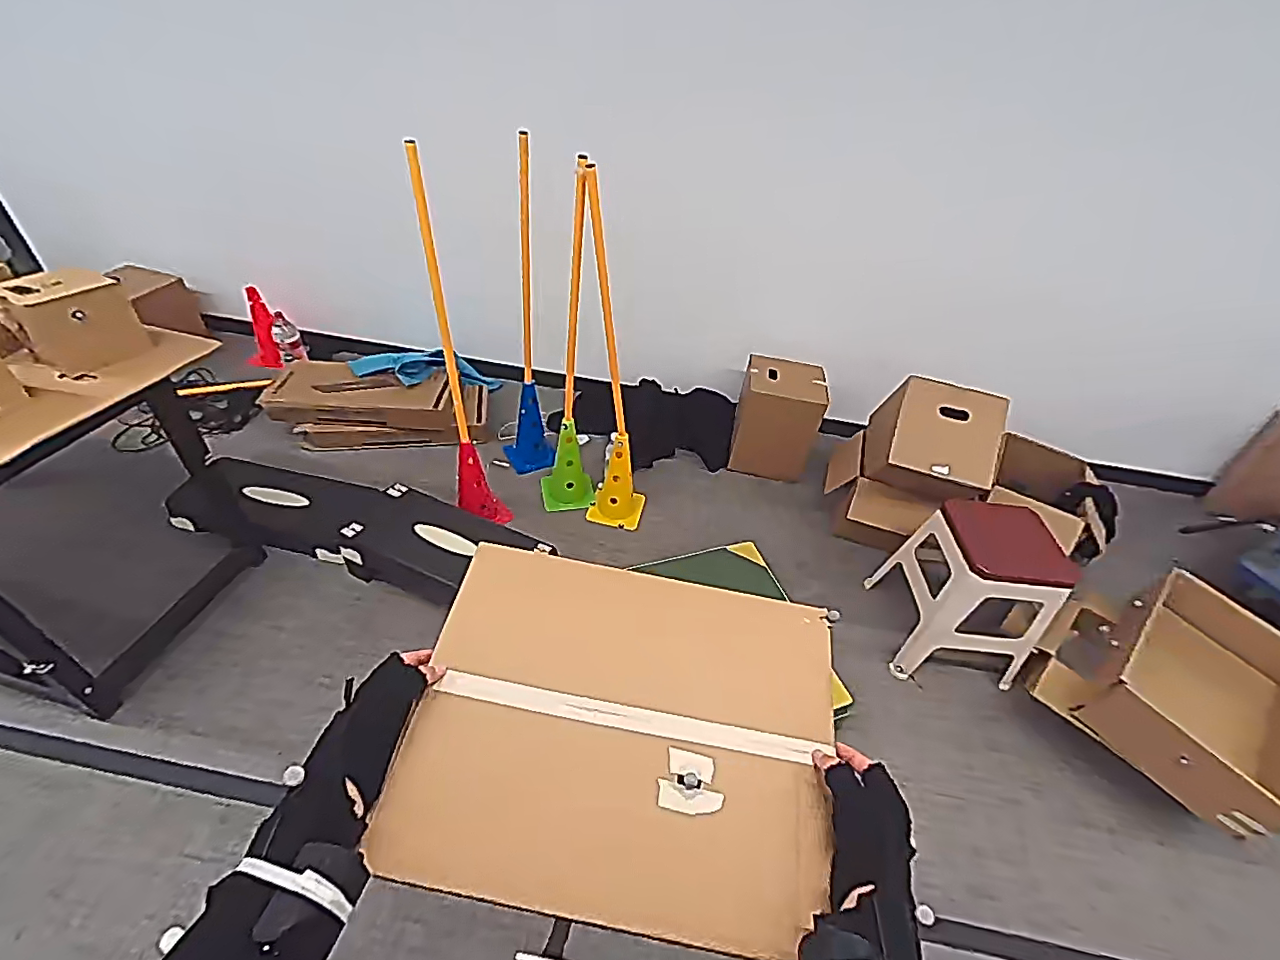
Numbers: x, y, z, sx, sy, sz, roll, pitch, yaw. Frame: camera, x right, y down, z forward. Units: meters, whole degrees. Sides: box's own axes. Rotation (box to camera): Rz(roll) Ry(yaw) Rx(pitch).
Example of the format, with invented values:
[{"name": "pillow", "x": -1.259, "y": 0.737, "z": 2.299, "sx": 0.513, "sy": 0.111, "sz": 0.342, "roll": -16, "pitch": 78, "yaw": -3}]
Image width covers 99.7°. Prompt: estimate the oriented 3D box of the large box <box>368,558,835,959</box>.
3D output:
[{"name": "large box", "x": -0.026, "y": 0.333, "z": 0.653, "sx": 0.408, "sy": 0.320, "sz": 0.320, "roll": 11, "pitch": 53, "yaw": 2}]
